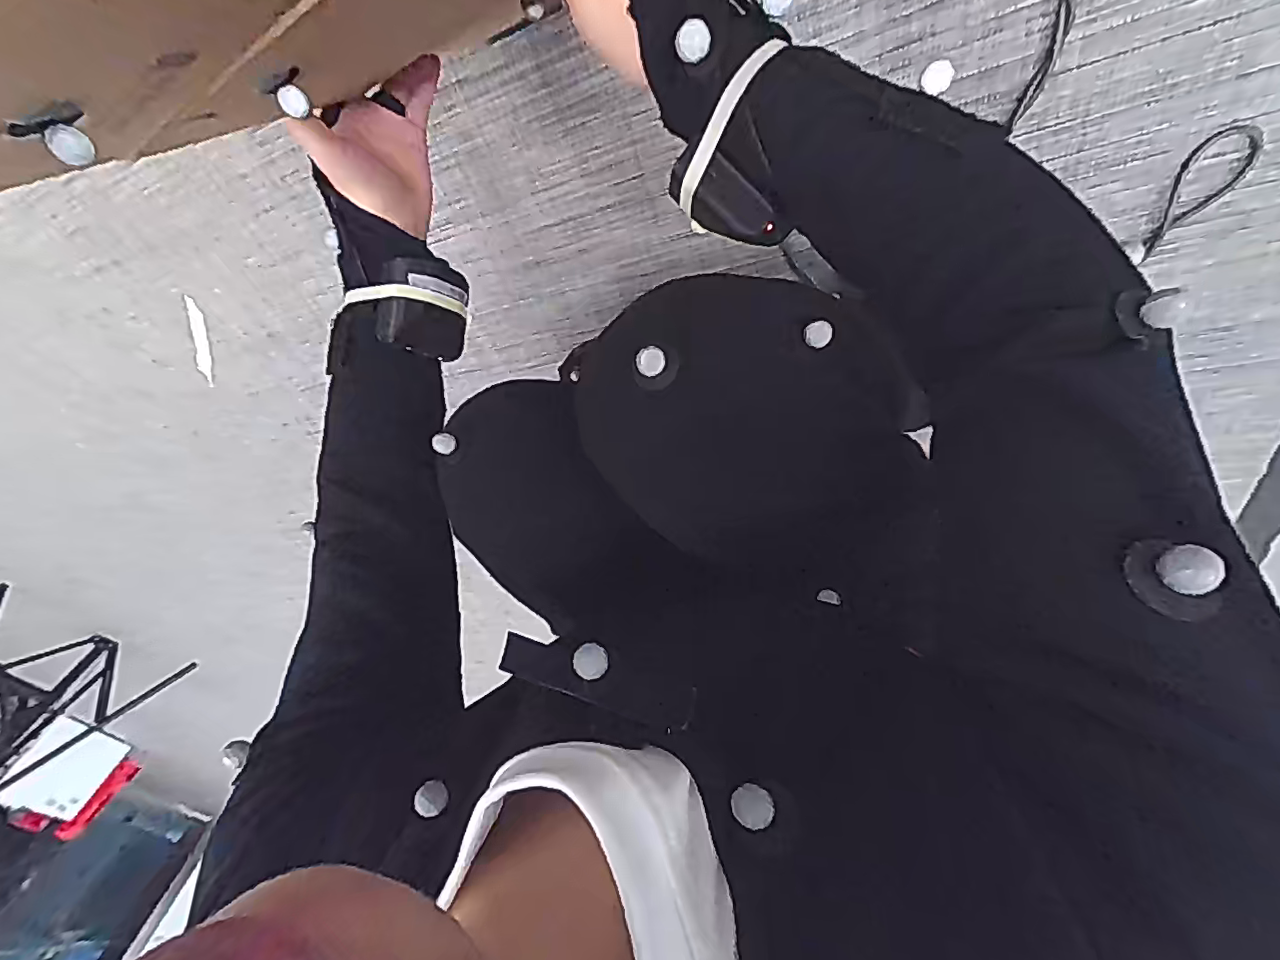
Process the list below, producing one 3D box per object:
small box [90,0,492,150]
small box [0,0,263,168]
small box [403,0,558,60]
[{"bbox_3d":[-0.164,-0.262,0.208,0.179,0.176,0.168,-5,130,28],"label":"small box"},{"bbox_3d":[-0.220,-0.160,0.095,0.168,0.176,0.179,-6,130,30],"label":"small box"},{"bbox_3d":[-0.116,-0.378,0.314,0.179,0.176,0.168,-2,130,28],"label":"small box"}]
